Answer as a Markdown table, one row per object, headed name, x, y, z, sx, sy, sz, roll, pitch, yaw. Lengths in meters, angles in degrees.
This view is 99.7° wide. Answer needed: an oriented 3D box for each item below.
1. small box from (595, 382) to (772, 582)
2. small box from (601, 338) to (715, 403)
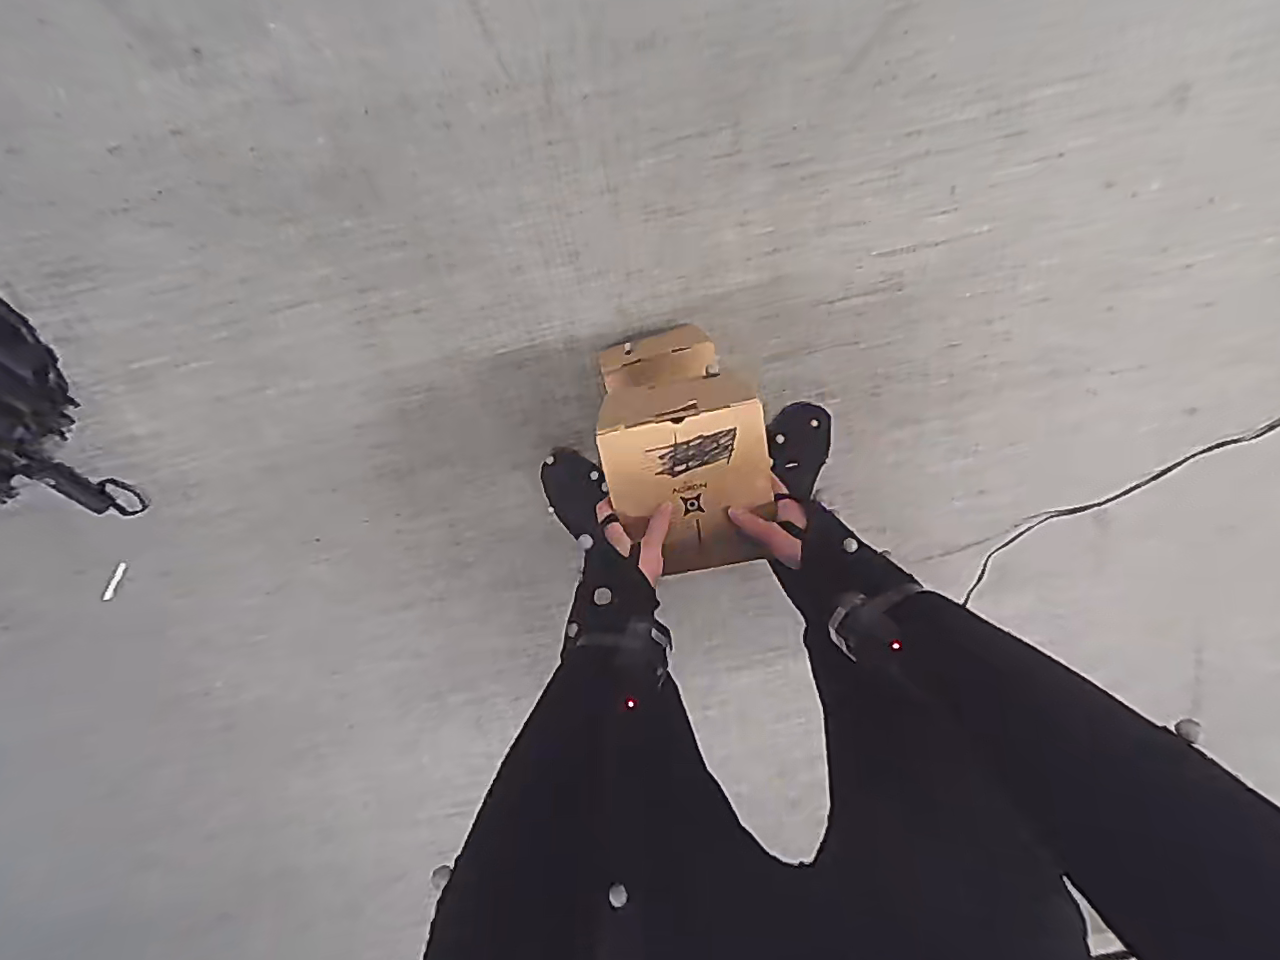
| name | x | y | z | sx | sy | sz | roll | pitch | yaw |
| --- | --- | --- | --- | --- | --- | --- | --- | --- | --- |
| small box | 0.048 | -0.009 | 0.639 | 0.168 | 0.176 | 0.179 | -11 | 113 | 5 |
| small box | 0.035 | -0.123 | 0.881 | 0.168 | 0.176 | 0.179 | -15 | 114 | 3 |
